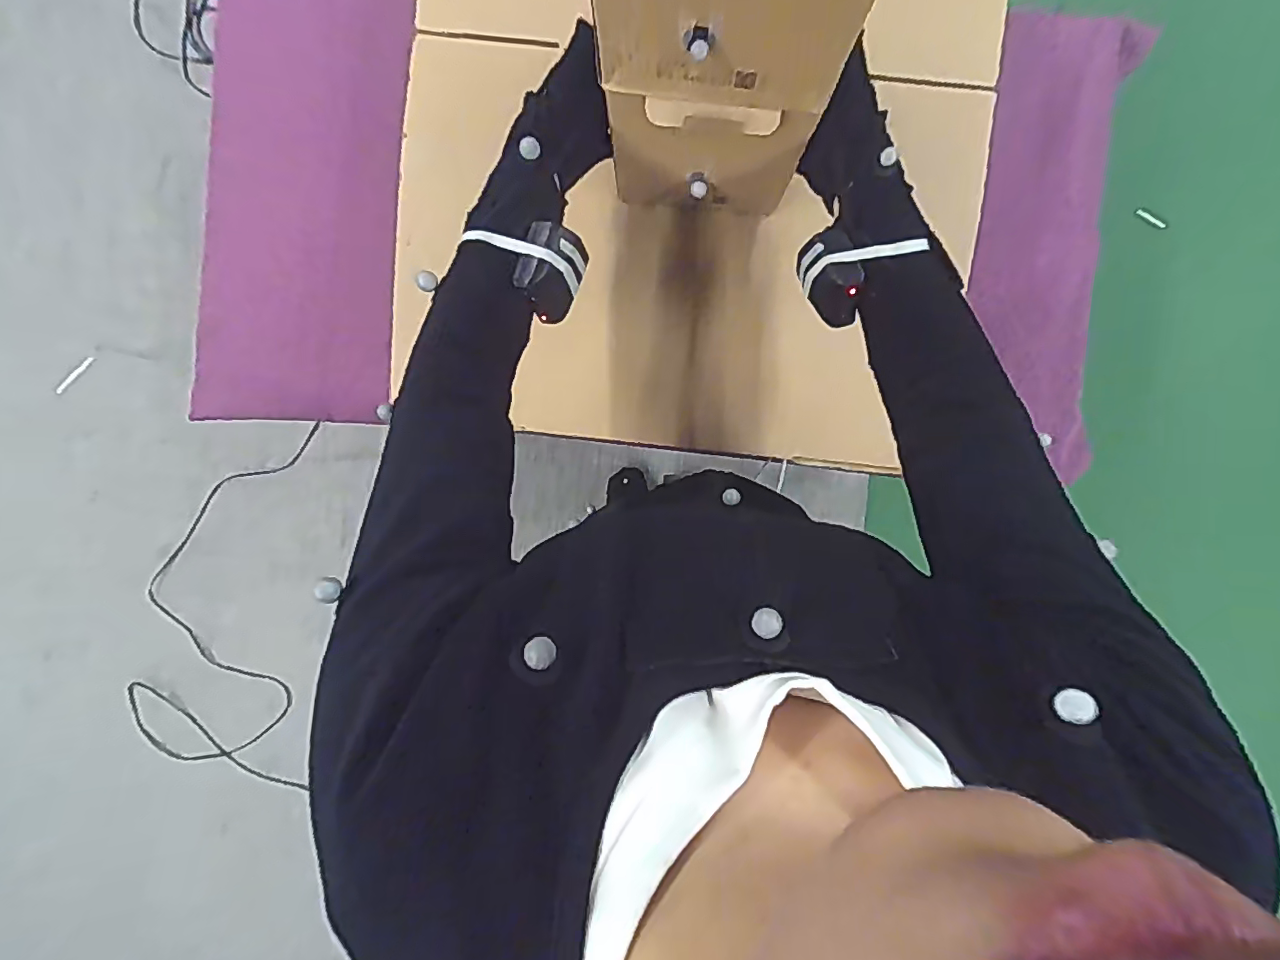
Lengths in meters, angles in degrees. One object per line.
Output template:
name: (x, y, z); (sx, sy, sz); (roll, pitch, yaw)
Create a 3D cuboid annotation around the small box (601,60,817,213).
small box: (0.062, -0.373, 0.484); (0.168, 0.176, 0.179); (7, 91, 1)

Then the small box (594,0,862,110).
small box: (0.058, -0.370, 0.322); (0.168, 0.176, 0.179); (6, 91, 1)
